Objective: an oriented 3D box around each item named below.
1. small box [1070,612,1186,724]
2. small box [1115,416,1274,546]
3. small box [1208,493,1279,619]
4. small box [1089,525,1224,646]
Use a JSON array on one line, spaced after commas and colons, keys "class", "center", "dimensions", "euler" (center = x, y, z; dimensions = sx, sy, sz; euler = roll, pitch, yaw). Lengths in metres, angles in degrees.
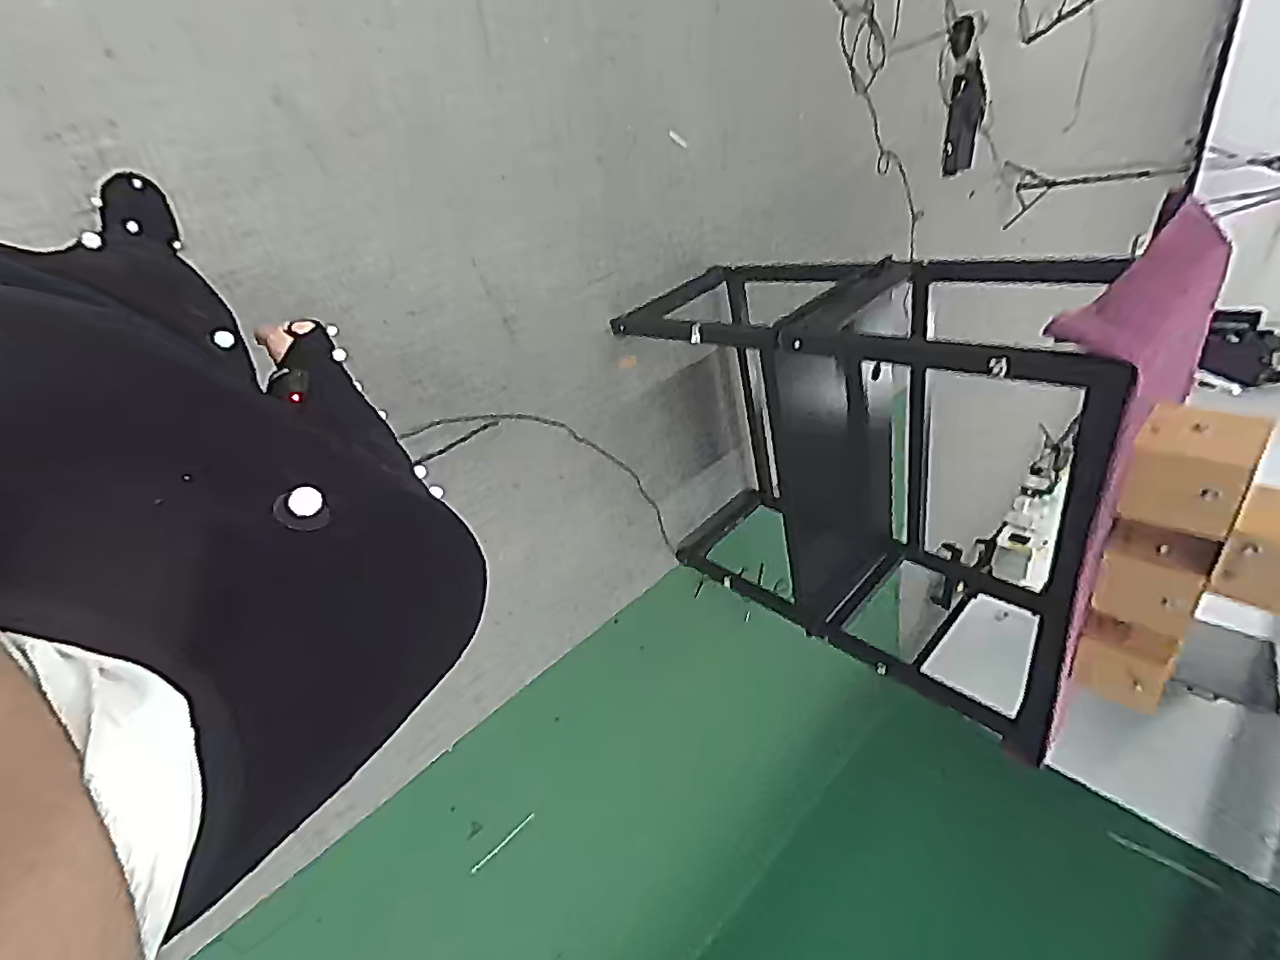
[{"class": "small box", "center": [1.182, 0.442, 1.317], "dimensions": [0.168, 0.176, 0.179], "euler": [-35, 124, -28]}, {"class": "small box", "center": [1.051, -0.009, 1.037], "dimensions": [0.168, 0.176, 0.179], "euler": [-36, 126, -25]}, {"class": "small box", "center": [1.195, 0.149, 0.995], "dimensions": [0.179, 0.176, 0.168], "euler": [-34, 126, -29]}, {"class": "small box", "center": [1.110, 0.215, 1.172], "dimensions": [0.168, 0.176, 0.179], "euler": [-35, 126, -27]}]
